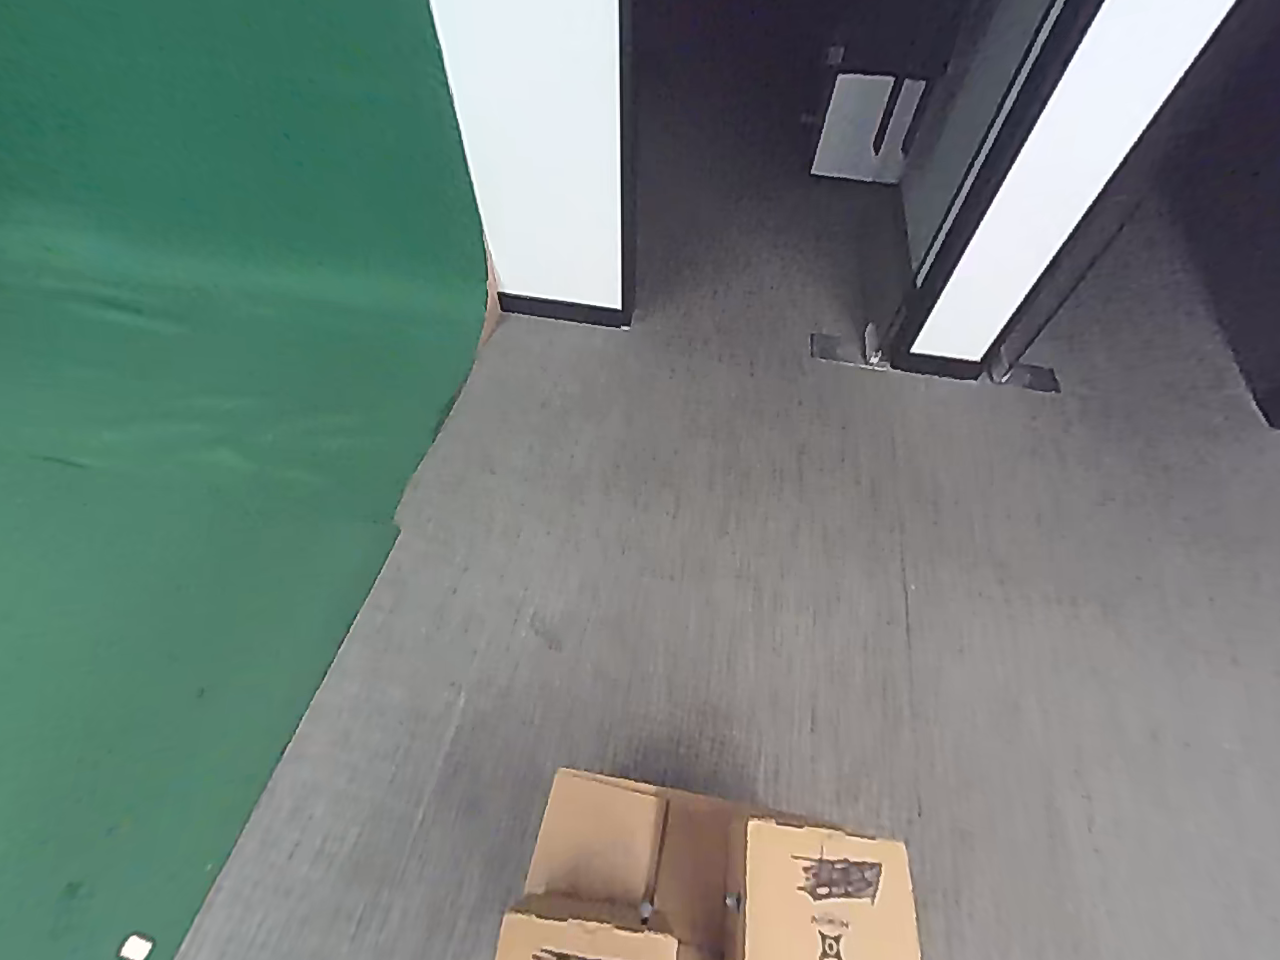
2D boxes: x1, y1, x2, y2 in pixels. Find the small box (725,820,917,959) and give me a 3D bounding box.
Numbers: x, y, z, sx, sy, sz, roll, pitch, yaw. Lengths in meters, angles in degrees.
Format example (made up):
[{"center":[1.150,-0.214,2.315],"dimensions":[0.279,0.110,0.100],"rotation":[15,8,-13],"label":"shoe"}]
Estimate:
[{"center":[0.185,0.489,0.591],"dimensions":[0.168,0.176,0.179],"rotation":[5,56,5],"label":"small box"}]
